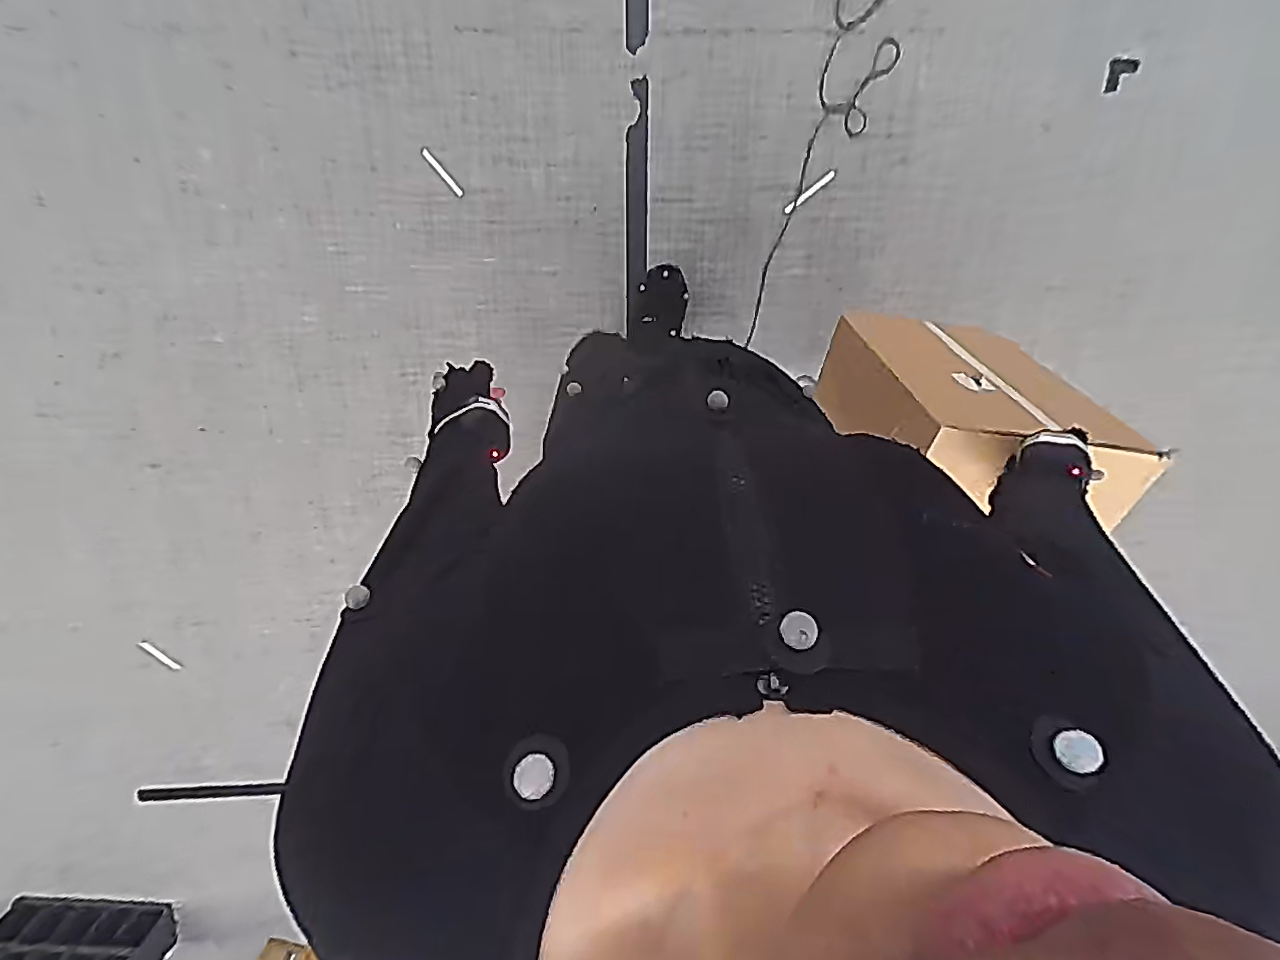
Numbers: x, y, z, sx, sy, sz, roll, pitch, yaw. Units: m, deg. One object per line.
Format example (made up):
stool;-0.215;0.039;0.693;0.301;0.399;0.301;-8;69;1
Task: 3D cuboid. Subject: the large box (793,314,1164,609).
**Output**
large box;0.499;-0.045;0.924;0.320;0.408;0.320;7;127;-5
